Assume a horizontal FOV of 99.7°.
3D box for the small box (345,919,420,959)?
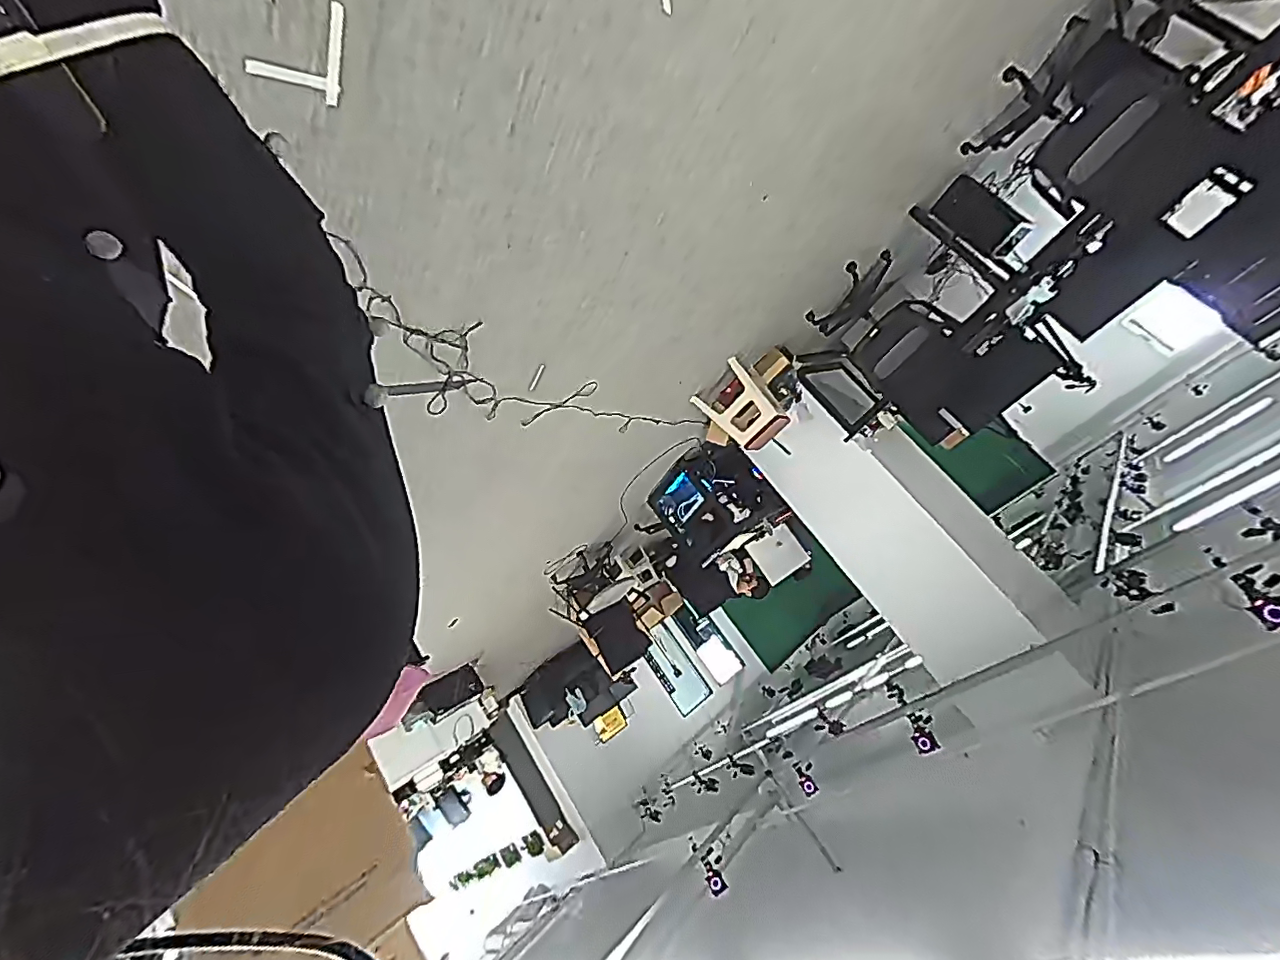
[{"bbox_3d":[-0.788,1.484,1.642,0.168,0.176,0.179,-16,153,-47],"label":"small box"}]
